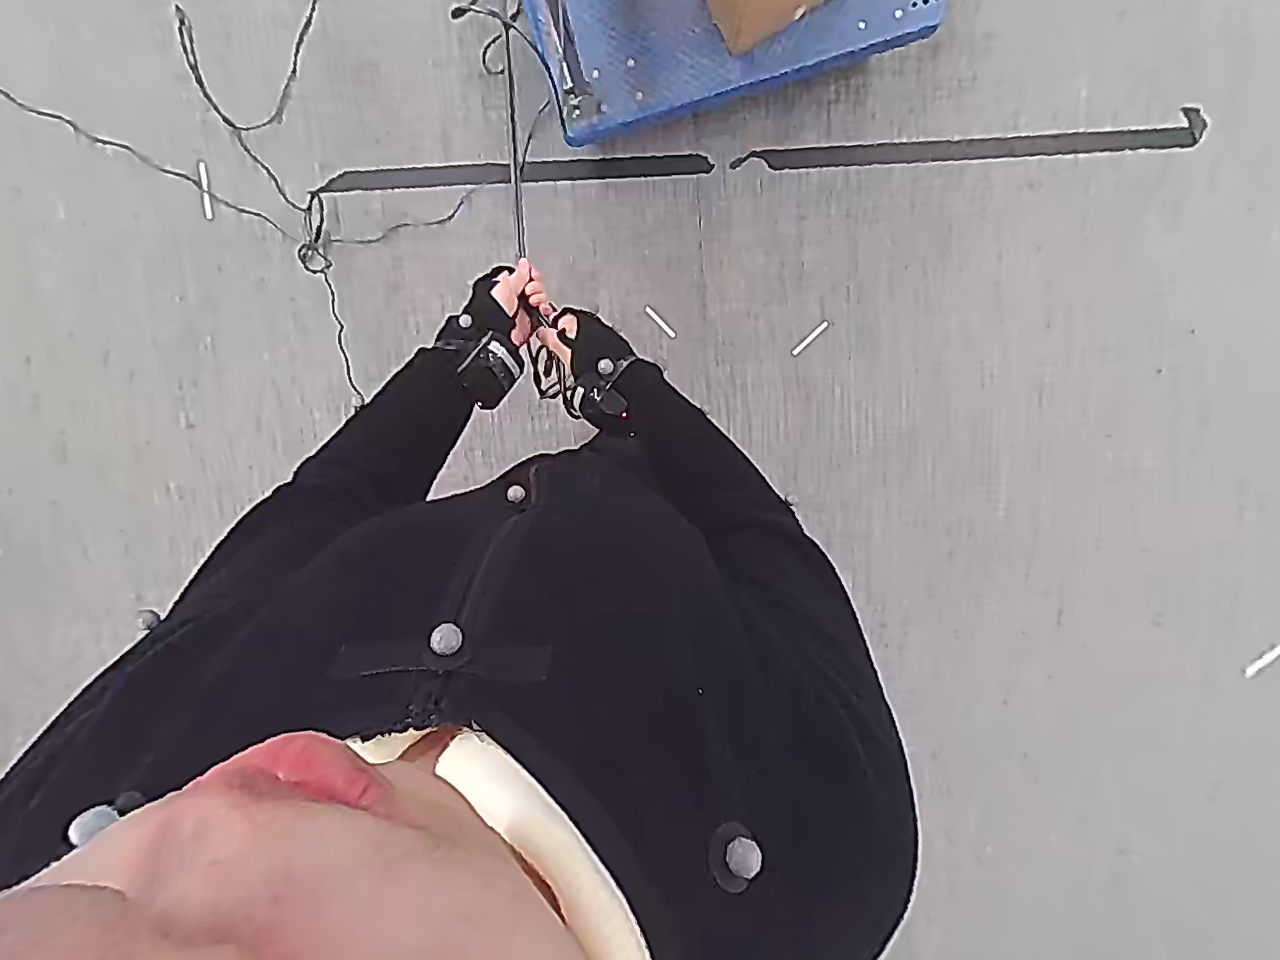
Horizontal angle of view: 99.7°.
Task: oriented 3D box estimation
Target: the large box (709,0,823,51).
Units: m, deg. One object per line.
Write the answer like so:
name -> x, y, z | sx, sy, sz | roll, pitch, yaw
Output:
large box -> 0.239, -1.145, 0.991 | 0.320, 0.320, 0.408 | -30, 97, 5
